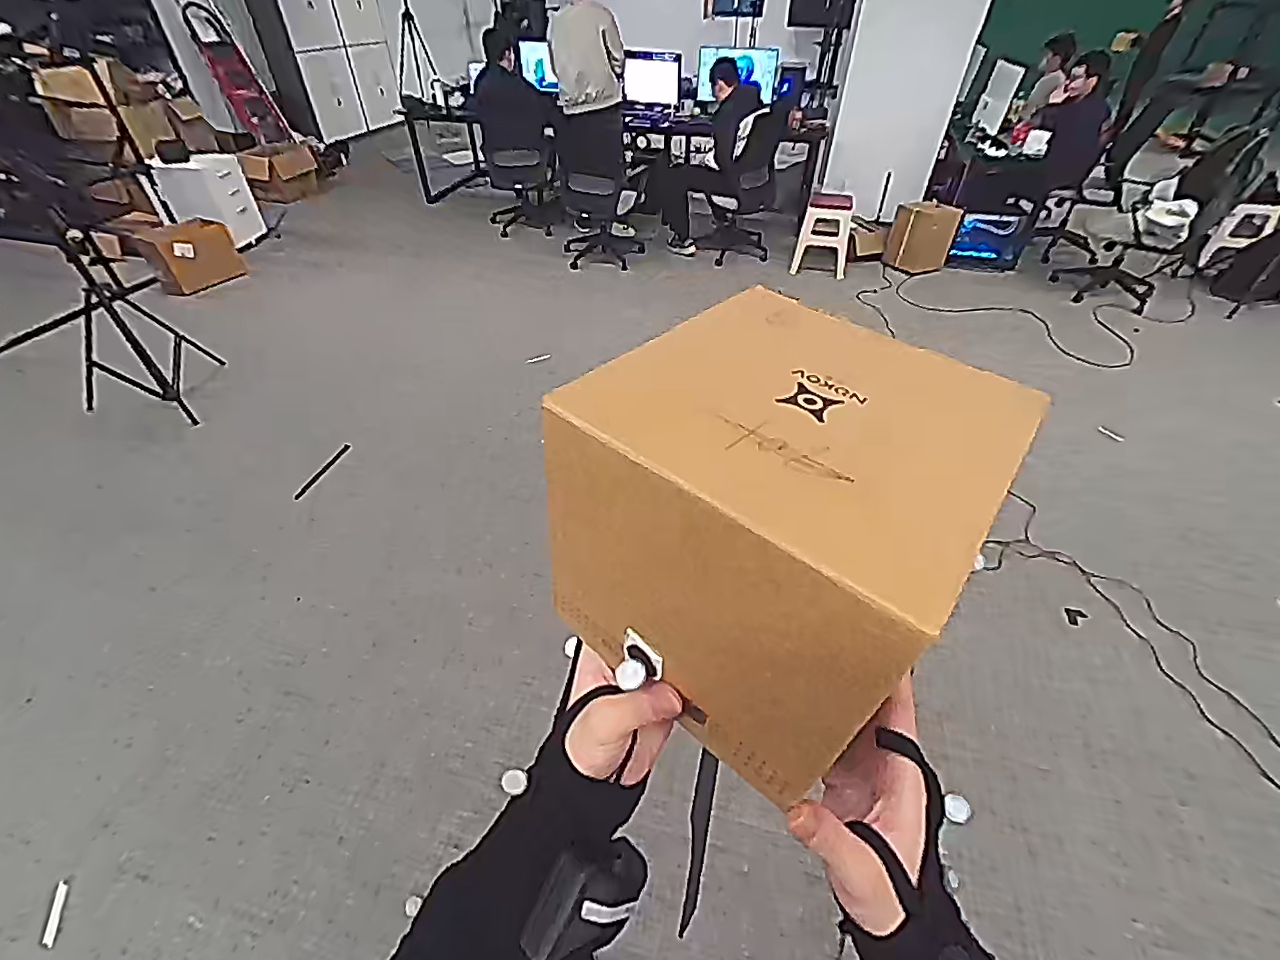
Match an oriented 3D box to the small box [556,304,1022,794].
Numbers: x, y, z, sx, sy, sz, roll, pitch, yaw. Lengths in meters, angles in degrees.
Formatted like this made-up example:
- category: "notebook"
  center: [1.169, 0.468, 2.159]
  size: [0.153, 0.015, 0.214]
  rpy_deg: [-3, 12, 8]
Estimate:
- category: "small box"
  center: [0.070, 0.029, 0.308]
  size: [0.168, 0.176, 0.179]
  rpy_deg: [31, 49, 26]
